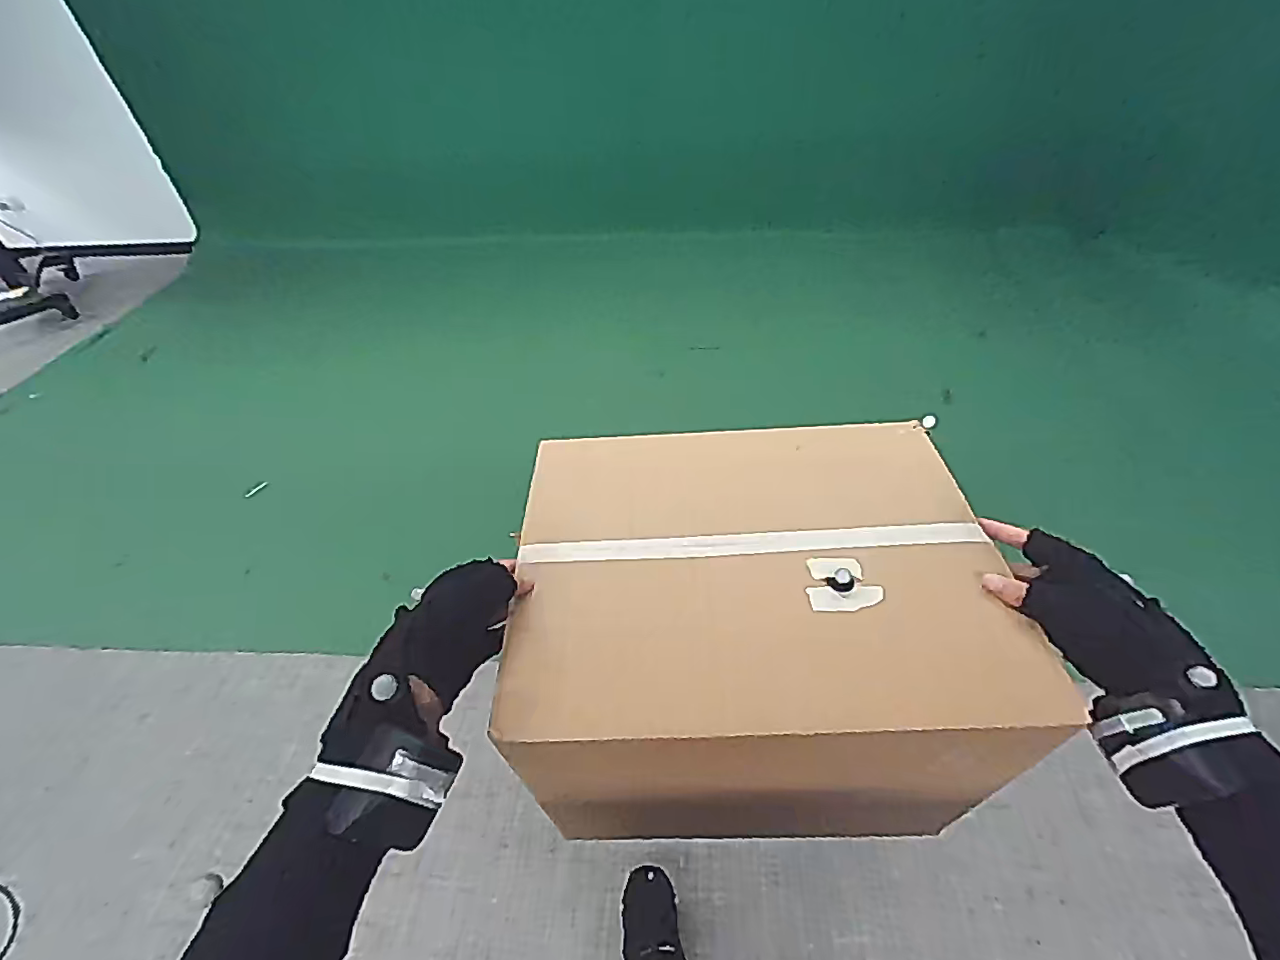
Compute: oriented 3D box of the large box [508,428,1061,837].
[{"bbox_3d":[0.106,0.169,0.592,0.408,0.320,0.320,-3,46,3],"label":"large box"}]
